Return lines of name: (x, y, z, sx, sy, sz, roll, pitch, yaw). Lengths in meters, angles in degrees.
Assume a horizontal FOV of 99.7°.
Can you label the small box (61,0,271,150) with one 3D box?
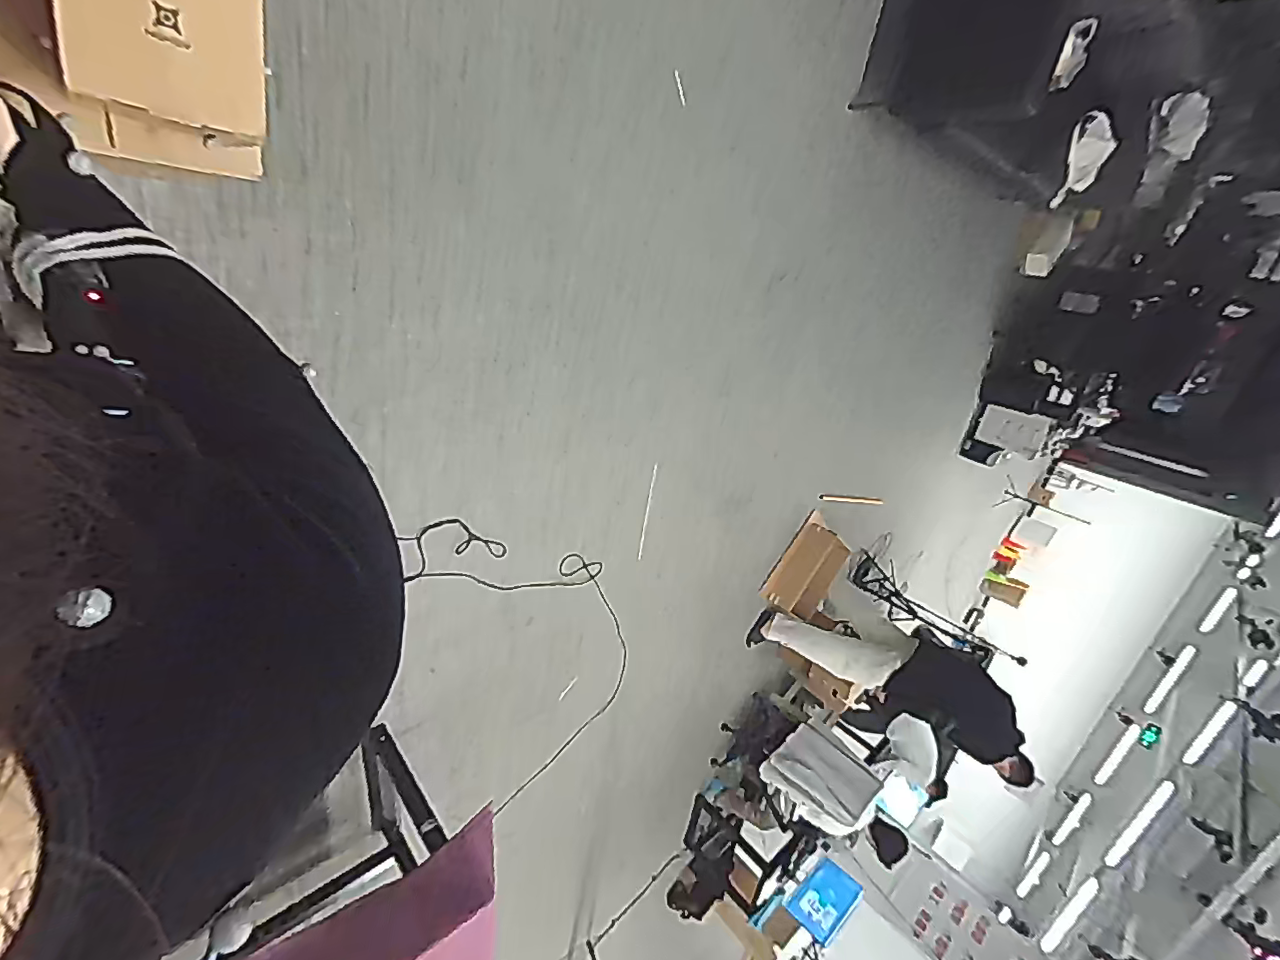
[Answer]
small box: (-0.527, -0.491, 0.607, 0.168, 0.176, 0.179, -7, 117, -43)
